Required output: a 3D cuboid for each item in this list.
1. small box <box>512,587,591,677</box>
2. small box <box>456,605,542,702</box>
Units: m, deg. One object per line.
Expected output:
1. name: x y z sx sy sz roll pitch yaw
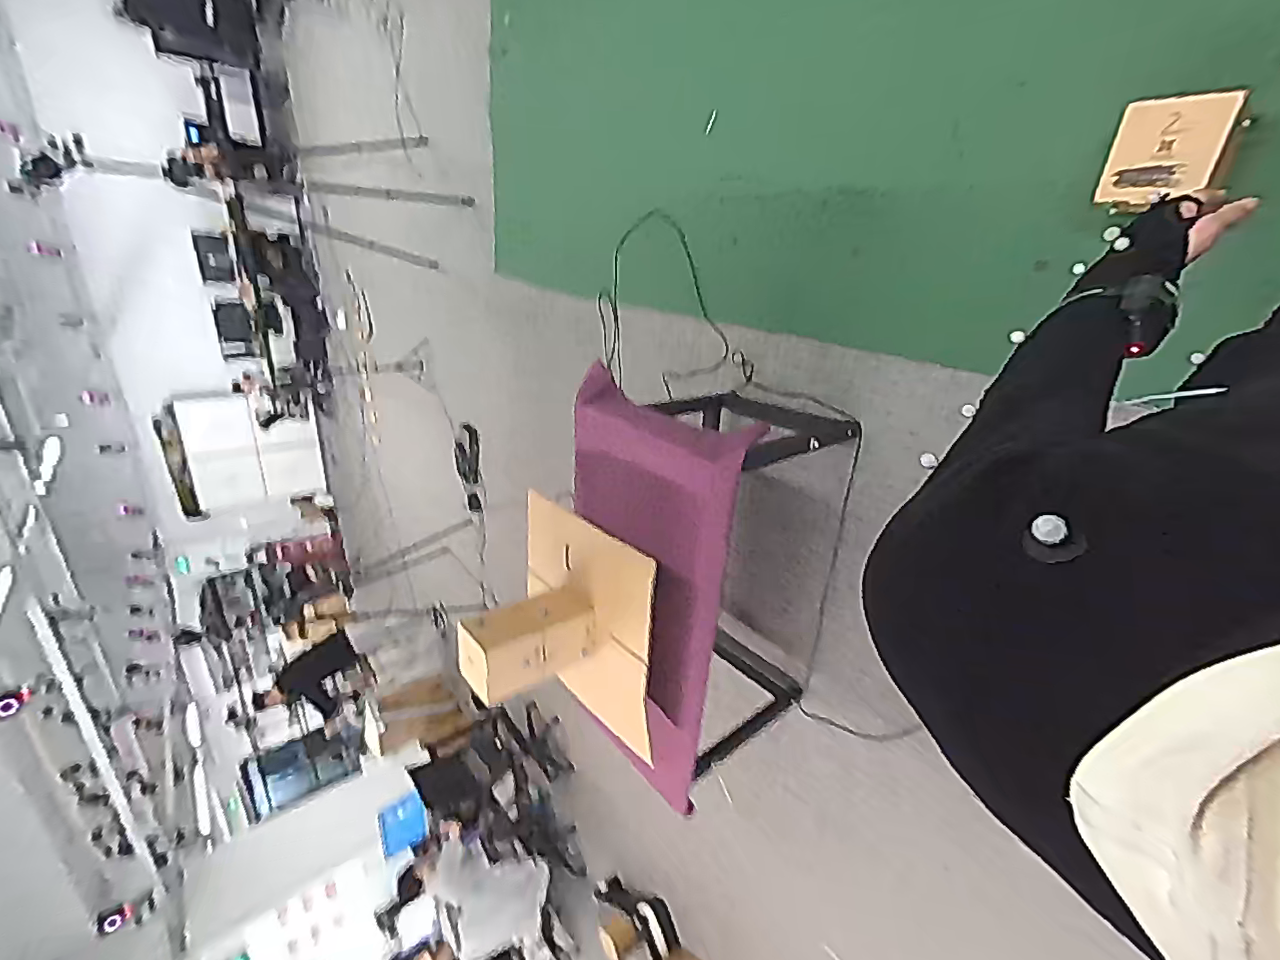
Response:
1. small box: -0.257 0.432 1.573 0.179 0.176 0.168 25 117 45
2. small box: -0.384 0.459 1.472 0.179 0.176 0.168 24 117 44
